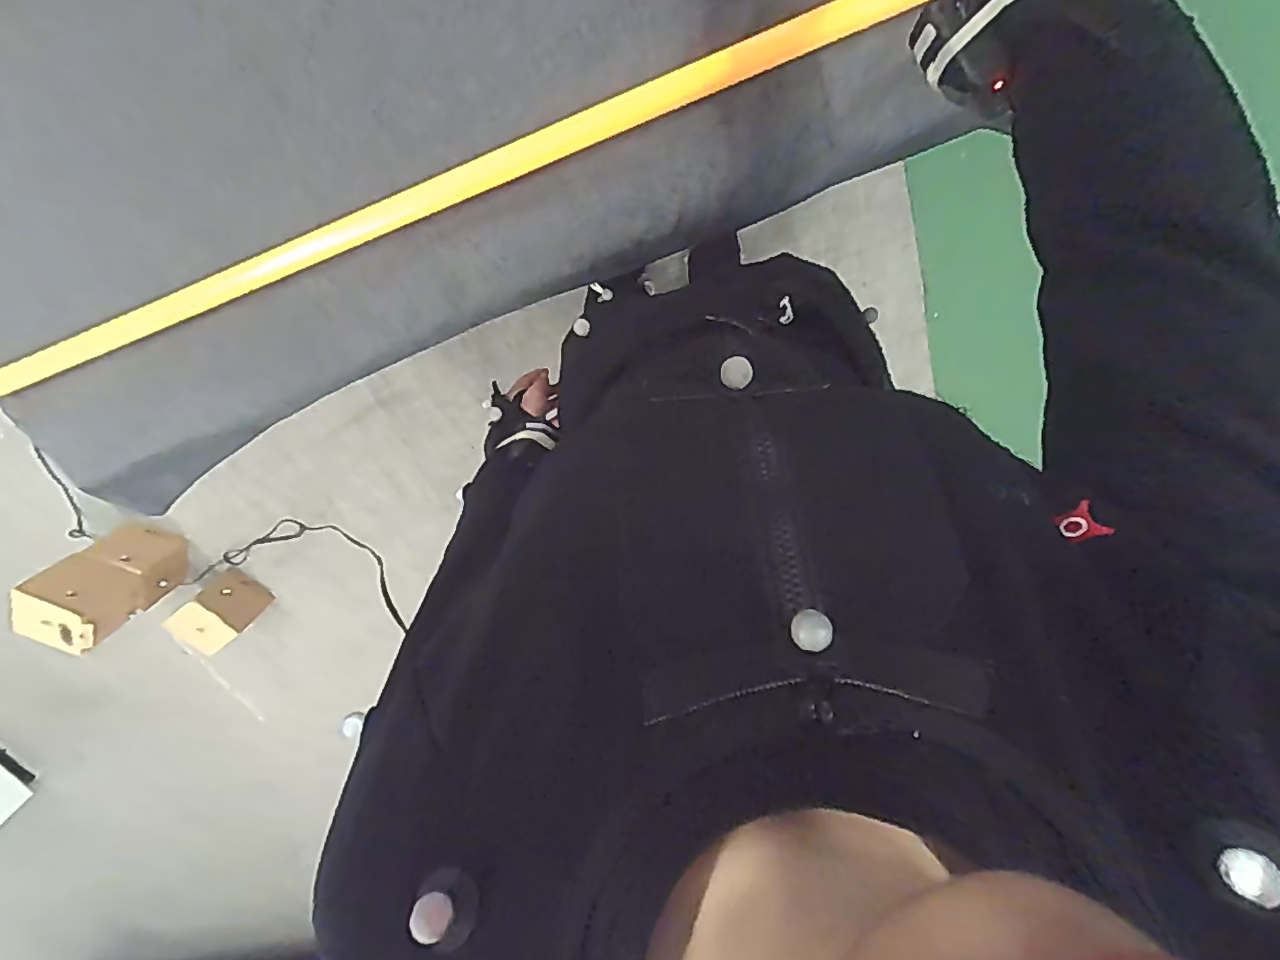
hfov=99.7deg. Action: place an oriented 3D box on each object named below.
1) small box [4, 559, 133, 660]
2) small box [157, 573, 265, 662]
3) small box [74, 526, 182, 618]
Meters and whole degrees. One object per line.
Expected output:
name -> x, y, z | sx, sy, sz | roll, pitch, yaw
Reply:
small box -> -1.524, 0.342, 1.452 | 0.179, 0.176, 0.168 | 27, 115, -9
small box -> -1.309, 0.418, 1.668 | 0.179, 0.176, 0.168 | -33, 110, 19
small box -> -1.504, 0.268, 1.598 | 0.168, 0.176, 0.179 | 22, 116, -7
